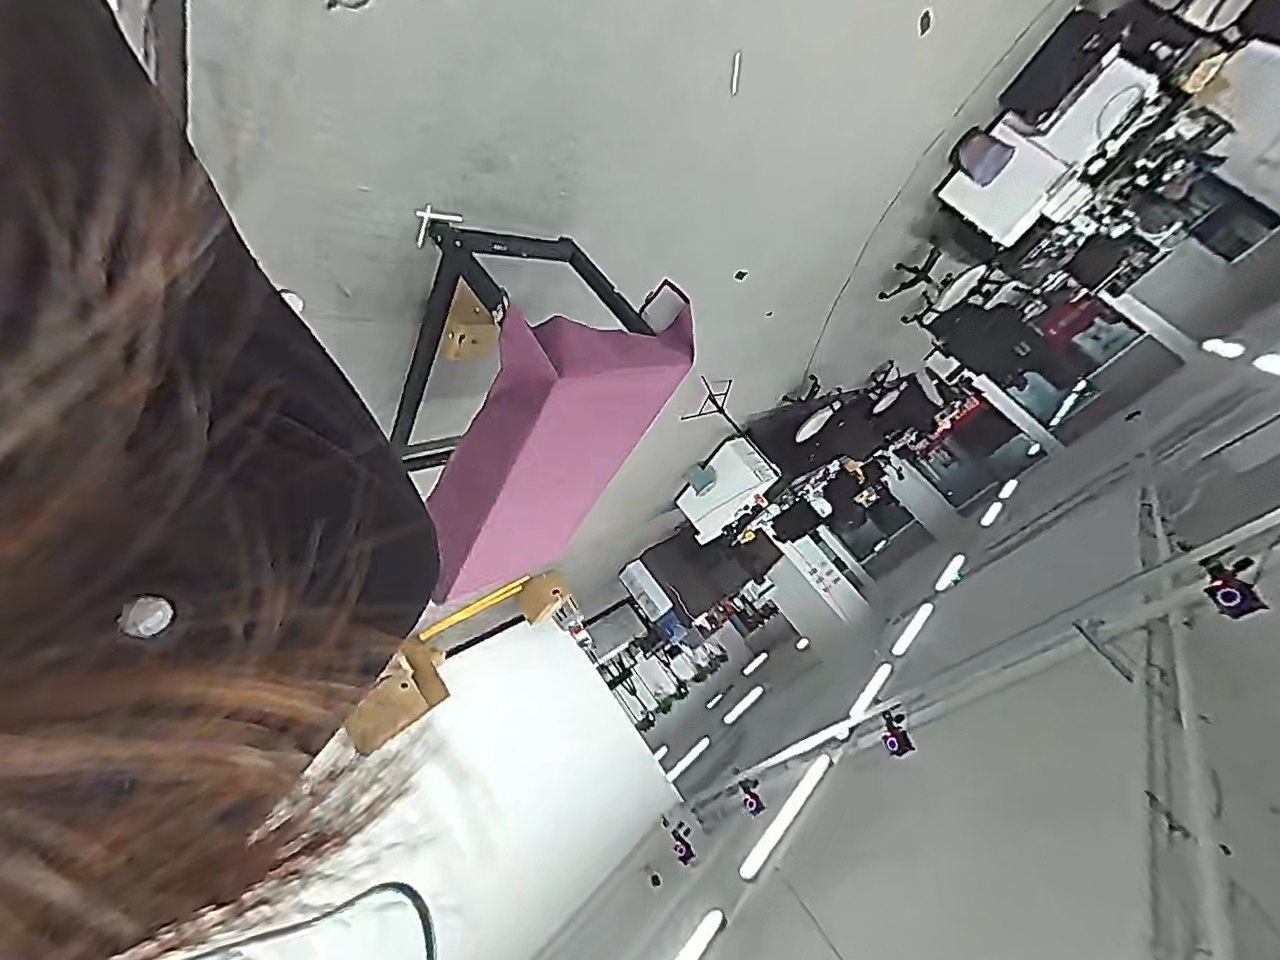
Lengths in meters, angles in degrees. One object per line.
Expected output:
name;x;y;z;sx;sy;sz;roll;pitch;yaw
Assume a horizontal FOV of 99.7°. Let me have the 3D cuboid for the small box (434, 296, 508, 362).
small box;-0.618;-0.554;1.972;0.179;0.176;0.168;-21;154;-45
